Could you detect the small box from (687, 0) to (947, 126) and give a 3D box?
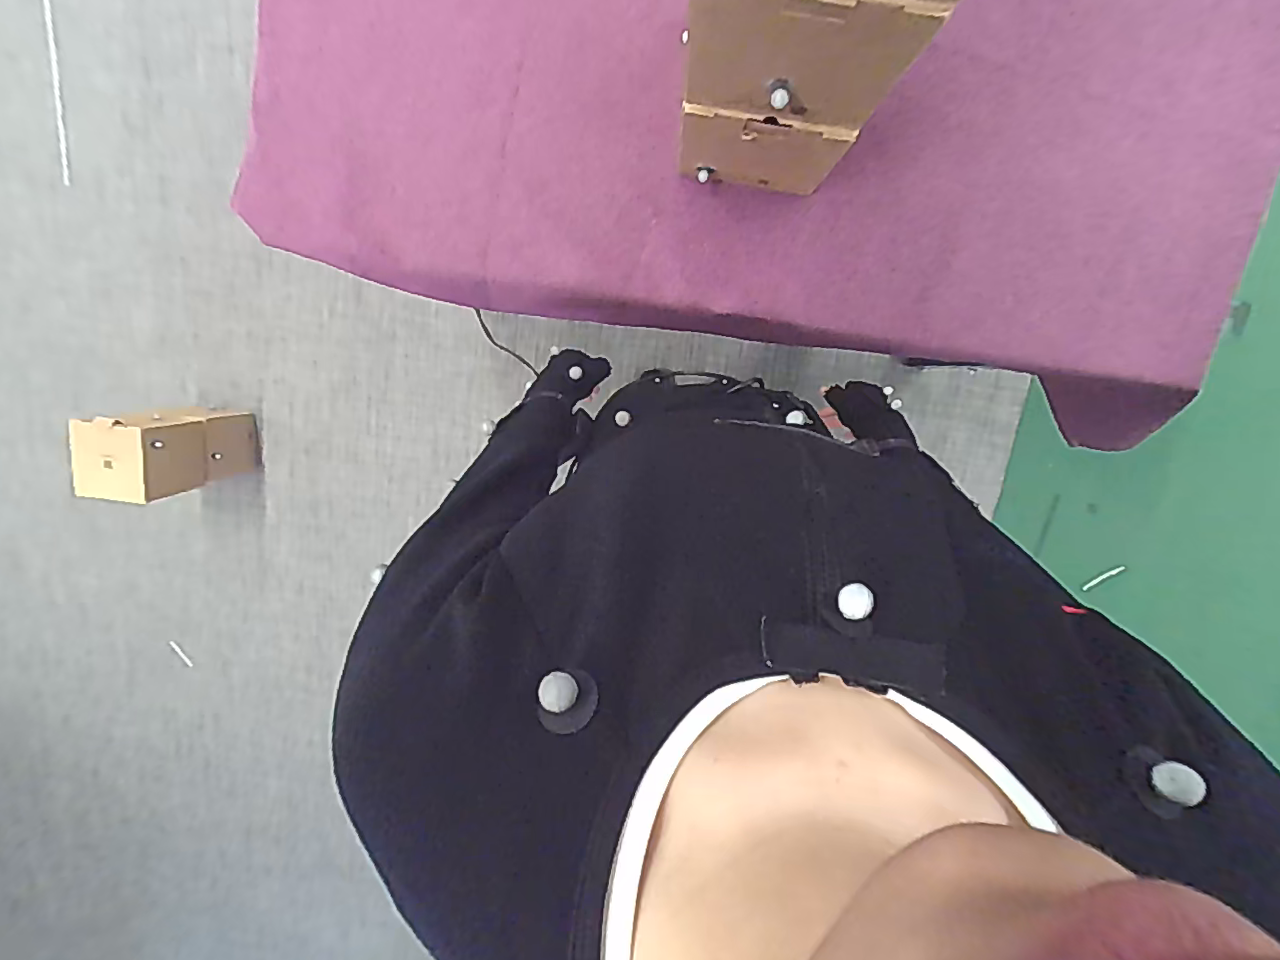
[{"bbox_3d":[0.131,-0.406,0.403,0.168,0.176,0.179,10,102,1],"label":"small box"}]

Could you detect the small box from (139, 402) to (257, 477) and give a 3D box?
[{"bbox_3d":[-1.160,-0.112,1.429,0.179,0.176,0.168,7,102,2],"label":"small box"}]

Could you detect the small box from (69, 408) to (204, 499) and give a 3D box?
[{"bbox_3d":[-1.171,-0.067,1.272,0.168,0.176,0.179,7,101,1],"label":"small box"}]

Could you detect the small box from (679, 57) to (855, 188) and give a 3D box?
[{"bbox_3d":[0.137,-0.431,0.565,0.168,0.176,0.179,11,101,0],"label":"small box"}]
